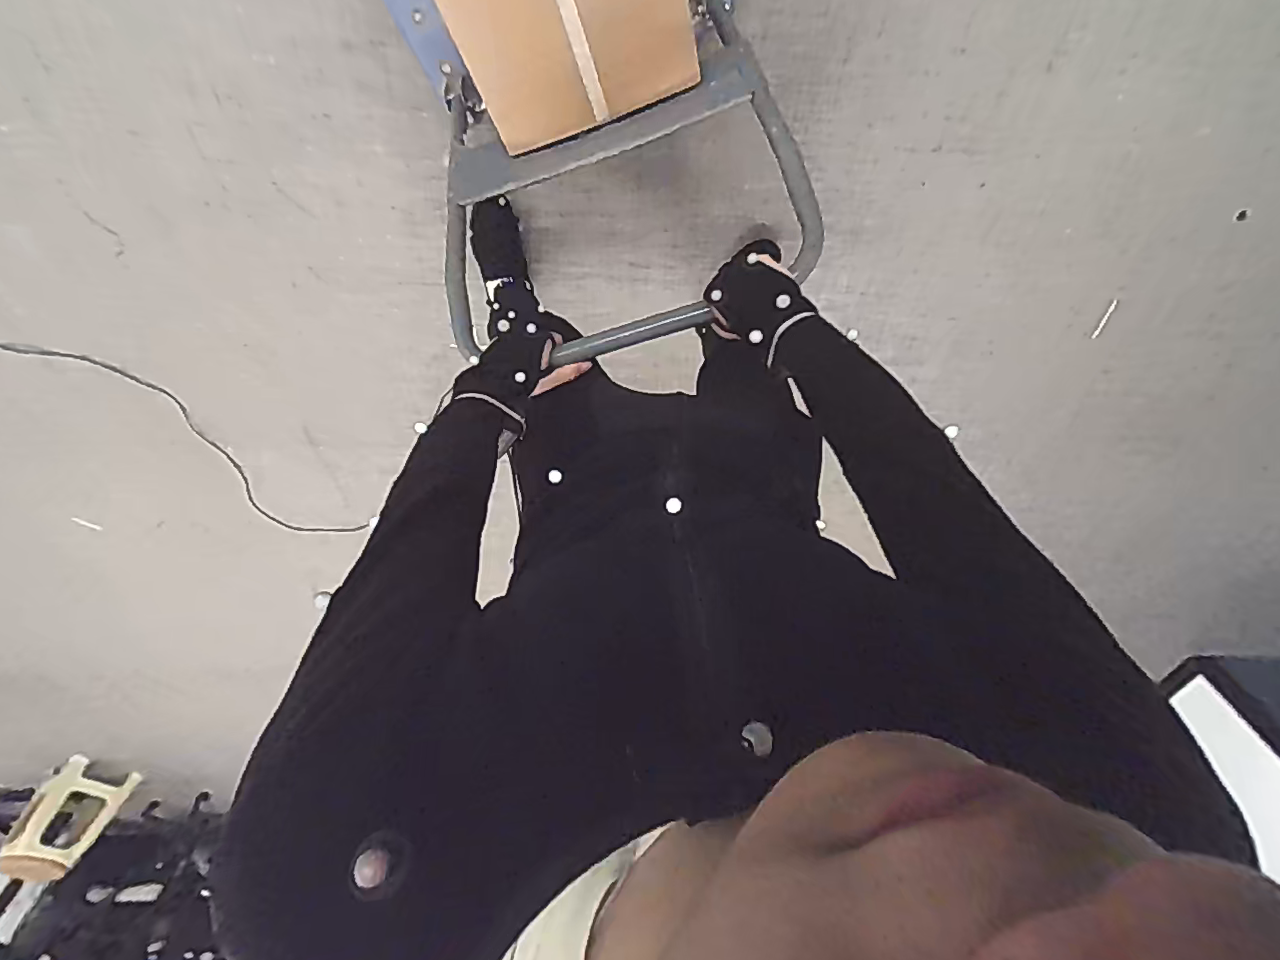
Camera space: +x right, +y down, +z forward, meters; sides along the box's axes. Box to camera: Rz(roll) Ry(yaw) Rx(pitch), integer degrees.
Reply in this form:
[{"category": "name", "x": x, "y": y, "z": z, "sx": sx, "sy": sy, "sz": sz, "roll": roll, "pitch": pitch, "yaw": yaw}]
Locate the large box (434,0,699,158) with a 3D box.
[{"category": "large box", "x": -0.130, "y": -0.766, "z": 0.749, "sx": 0.320, "sy": 0.320, "sz": 0.408, "roll": -15, "pitch": 146, "yaw": 10}]
